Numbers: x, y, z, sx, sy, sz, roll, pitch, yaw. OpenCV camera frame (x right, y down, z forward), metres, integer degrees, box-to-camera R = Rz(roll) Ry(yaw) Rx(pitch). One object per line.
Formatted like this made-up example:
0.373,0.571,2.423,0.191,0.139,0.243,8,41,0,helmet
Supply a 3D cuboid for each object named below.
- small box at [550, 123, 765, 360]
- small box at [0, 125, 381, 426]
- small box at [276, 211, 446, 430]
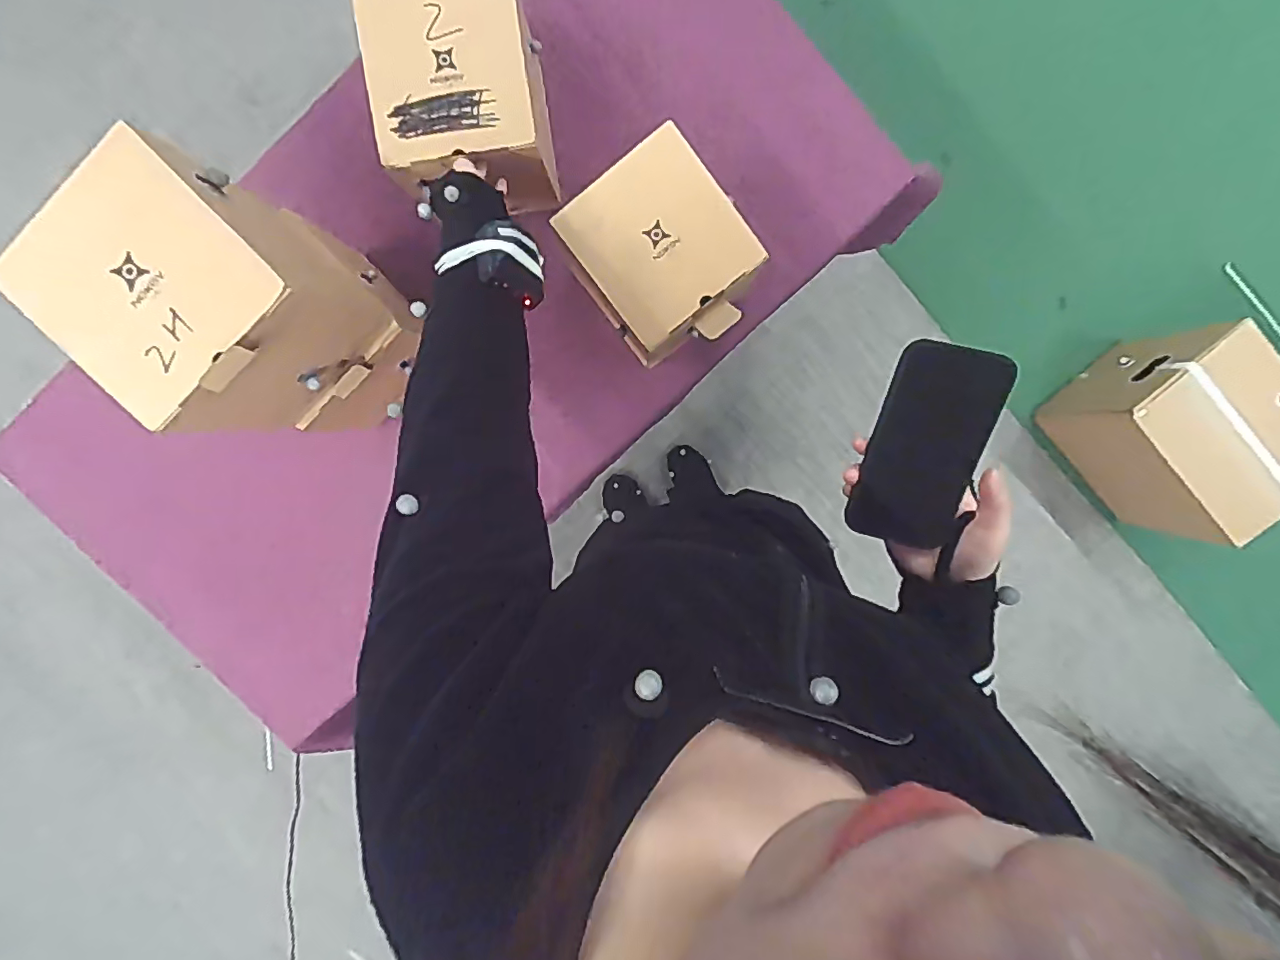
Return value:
0.018,-0.265,0.651,0.168,0.176,0.179,-38,95,4,small box
-0.390,-0.163,0.501,0.168,0.176,0.179,-43,94,5,small box
-0.375,-0.181,0.665,0.168,0.176,0.179,-43,94,4,small box
